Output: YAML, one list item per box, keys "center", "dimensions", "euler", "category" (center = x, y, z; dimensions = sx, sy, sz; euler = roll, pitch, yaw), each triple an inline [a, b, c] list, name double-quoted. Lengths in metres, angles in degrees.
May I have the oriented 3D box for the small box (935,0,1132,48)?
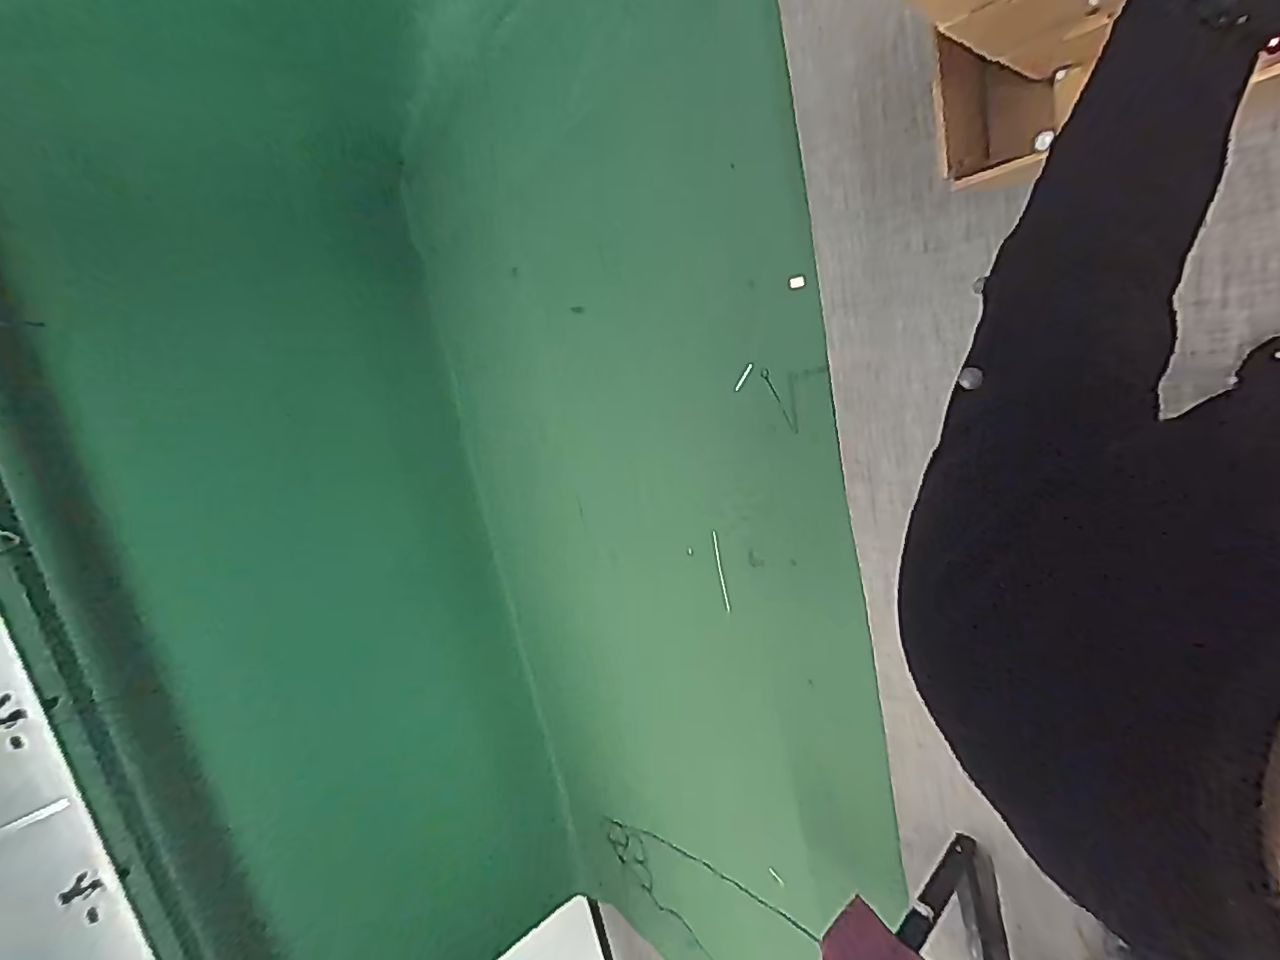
- center: [0.421, -0.576, 0.546]
  dimensions: [0.168, 0.176, 0.179]
  euler: [11, 114, 49]
  category: "small box"

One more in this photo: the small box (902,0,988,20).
- center: [0.301, -0.528, 0.447]
  dimensions: [0.179, 0.176, 0.168]
  euler: [14, 116, 46]
  category: "small box"
